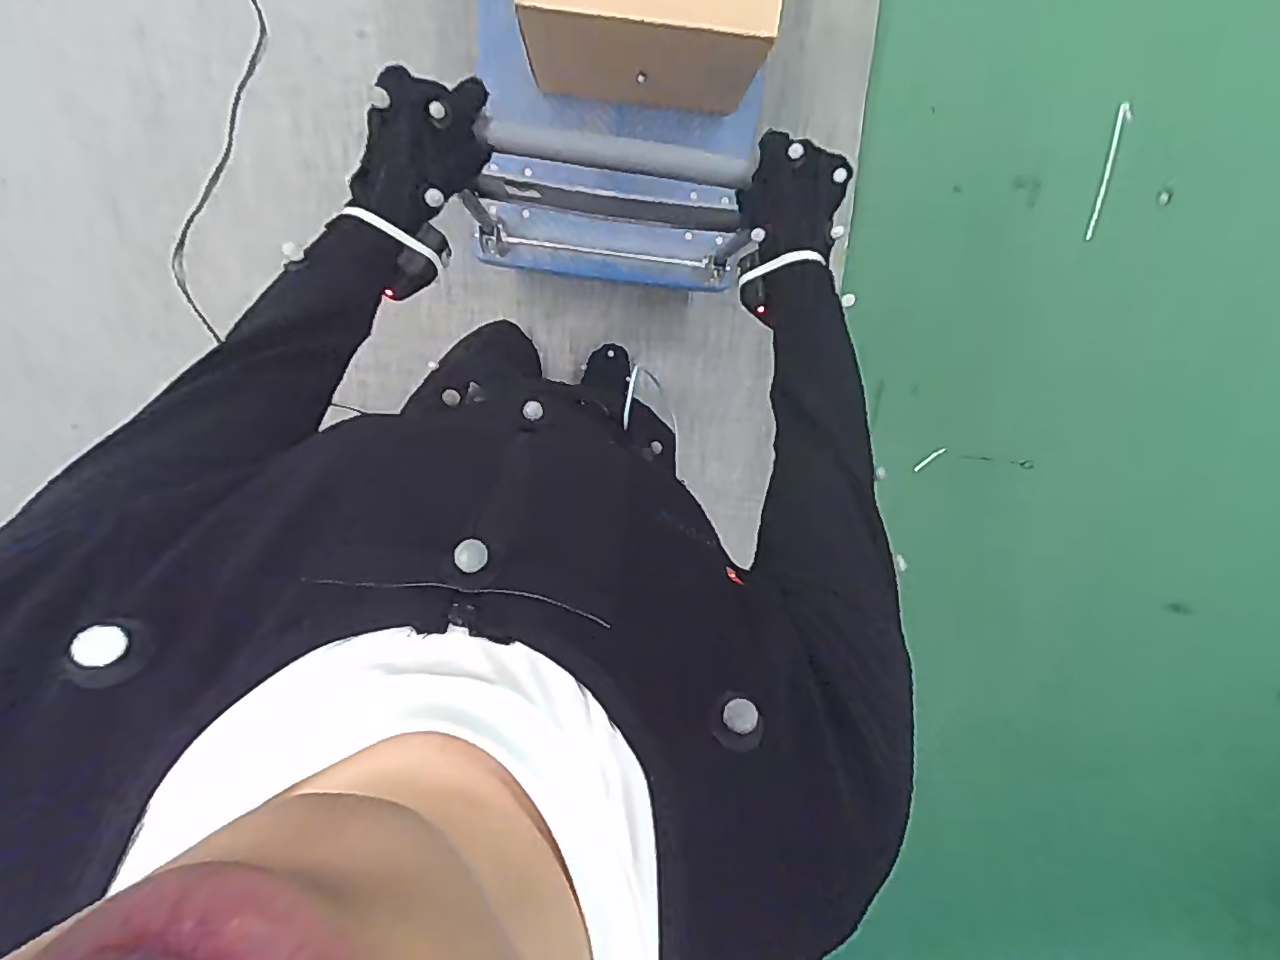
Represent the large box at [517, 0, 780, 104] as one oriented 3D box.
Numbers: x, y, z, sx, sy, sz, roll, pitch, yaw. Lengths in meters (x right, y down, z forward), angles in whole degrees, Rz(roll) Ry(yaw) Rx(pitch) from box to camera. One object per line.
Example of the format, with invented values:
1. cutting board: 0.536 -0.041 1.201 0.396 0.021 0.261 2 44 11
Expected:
1. large box: 0.016 -0.888 0.923 0.408 0.320 0.320 3 105 -5
